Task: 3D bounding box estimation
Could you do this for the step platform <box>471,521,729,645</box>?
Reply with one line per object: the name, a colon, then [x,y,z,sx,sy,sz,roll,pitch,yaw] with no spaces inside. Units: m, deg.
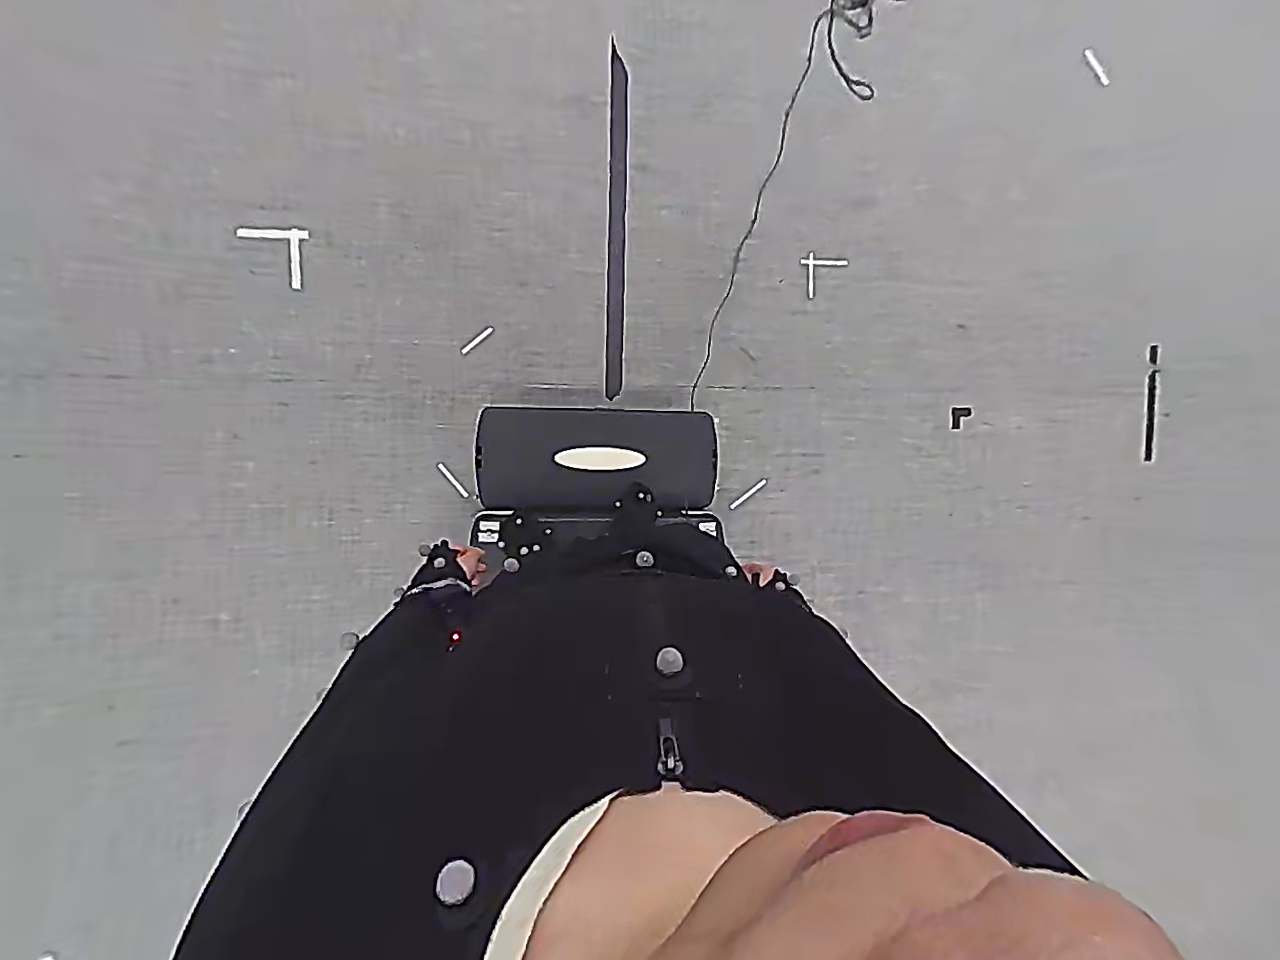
step platform: [-0.102,0.278,1.470,0.684,0.204,0.286,5,88,-7]
